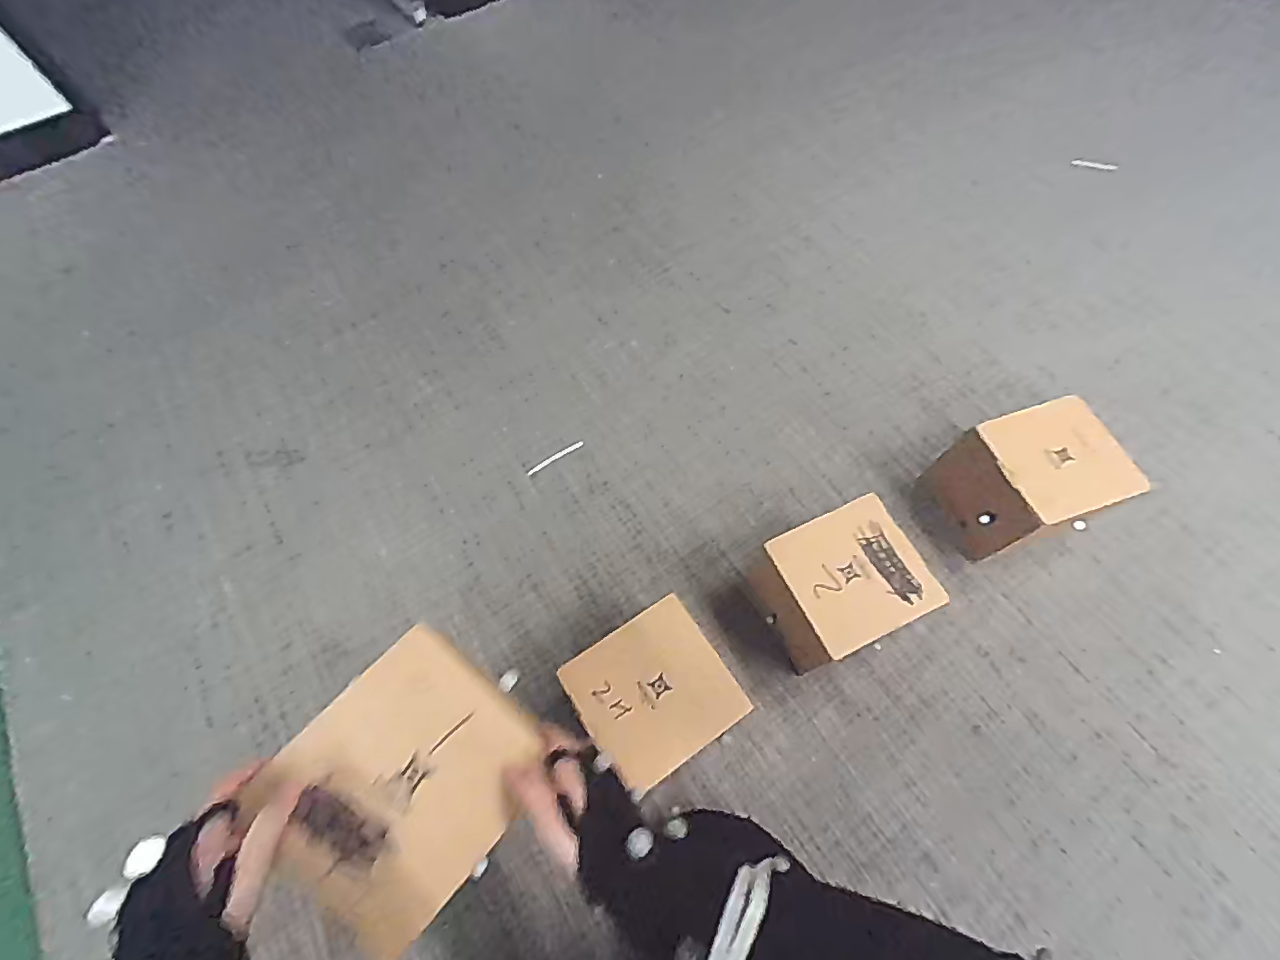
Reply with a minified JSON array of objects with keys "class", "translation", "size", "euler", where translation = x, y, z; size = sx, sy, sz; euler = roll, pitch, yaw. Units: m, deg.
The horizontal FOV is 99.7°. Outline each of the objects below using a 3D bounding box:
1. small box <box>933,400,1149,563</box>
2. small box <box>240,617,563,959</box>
[{"class":"small box","translation":[0.583,0.009,0.822],"size":[0.179,0.176,0.168],"euler":[-16,65,-7]},{"class":"small box","translation":[-0.188,0.248,0.483],"size":[0.168,0.176,0.179],"euler":[44,69,4]}]
